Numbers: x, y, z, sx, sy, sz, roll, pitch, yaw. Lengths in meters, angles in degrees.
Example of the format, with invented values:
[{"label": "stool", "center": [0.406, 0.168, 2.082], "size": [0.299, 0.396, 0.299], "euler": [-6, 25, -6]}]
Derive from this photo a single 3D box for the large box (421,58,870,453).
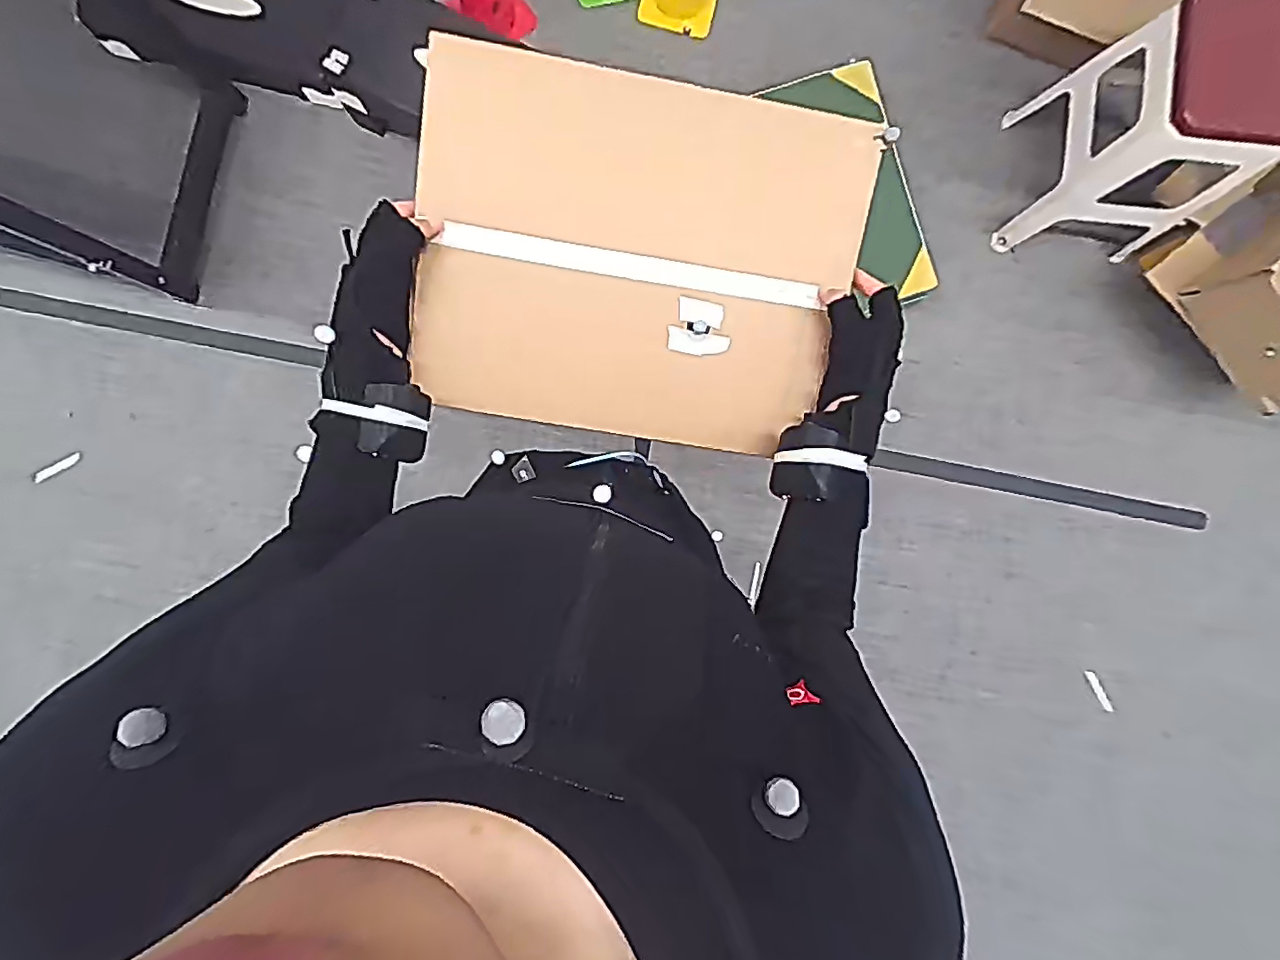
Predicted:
[{"label": "large box", "center": [-0.010, -0.229, 0.662], "size": [0.408, 0.320, 0.320], "euler": [8, 102, -5]}]
